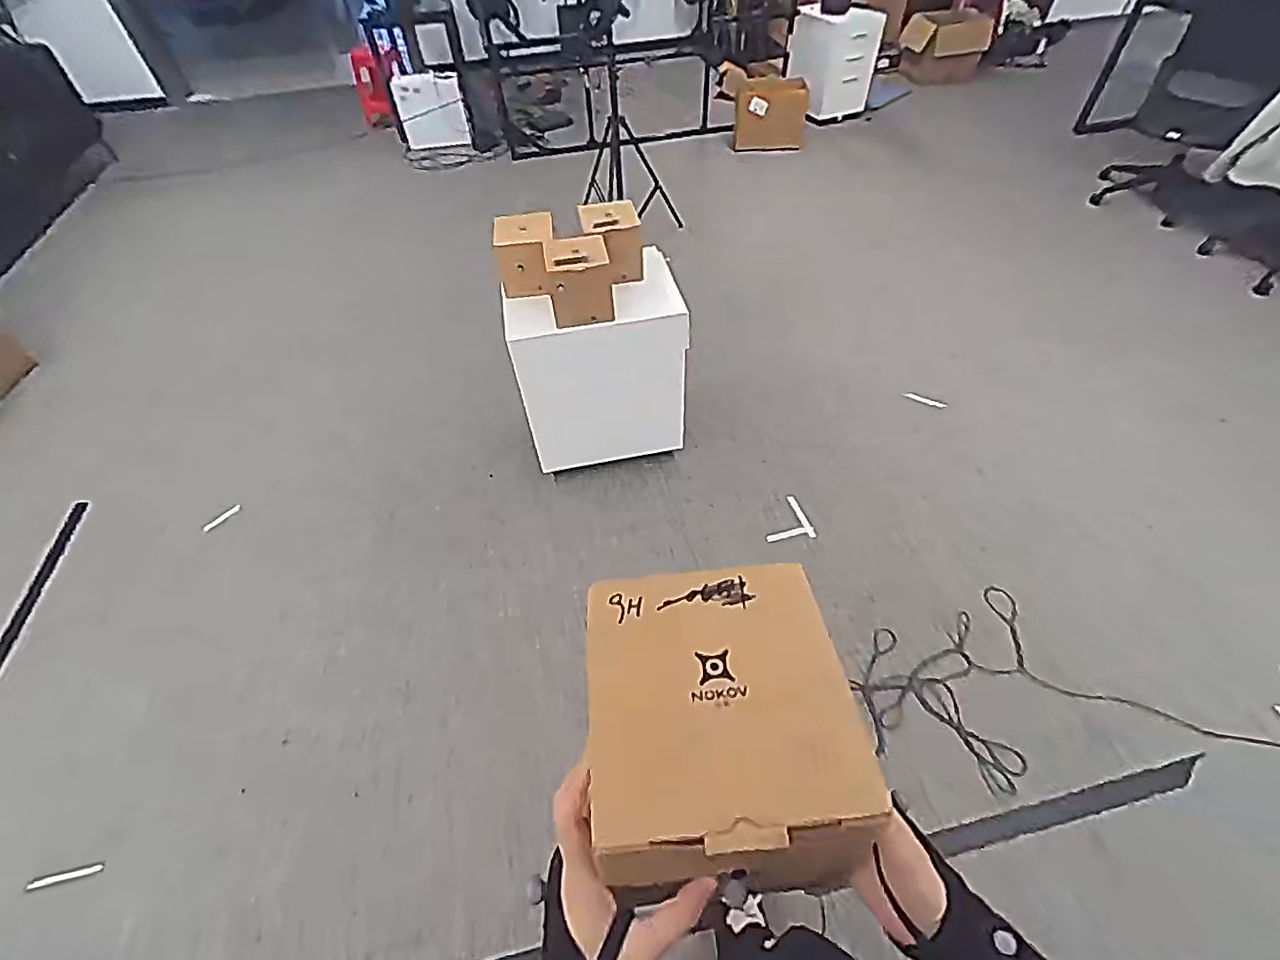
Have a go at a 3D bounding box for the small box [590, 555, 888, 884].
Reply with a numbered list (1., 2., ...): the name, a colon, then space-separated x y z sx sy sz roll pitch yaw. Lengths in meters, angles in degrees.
1. small box: 0.054 0.182 0.406 0.168 0.176 0.179 -5 44 -2

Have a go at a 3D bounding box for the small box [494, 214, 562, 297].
1. small box: -0.326 -0.654 1.594 0.168 0.176 0.179 -8 50 -4
